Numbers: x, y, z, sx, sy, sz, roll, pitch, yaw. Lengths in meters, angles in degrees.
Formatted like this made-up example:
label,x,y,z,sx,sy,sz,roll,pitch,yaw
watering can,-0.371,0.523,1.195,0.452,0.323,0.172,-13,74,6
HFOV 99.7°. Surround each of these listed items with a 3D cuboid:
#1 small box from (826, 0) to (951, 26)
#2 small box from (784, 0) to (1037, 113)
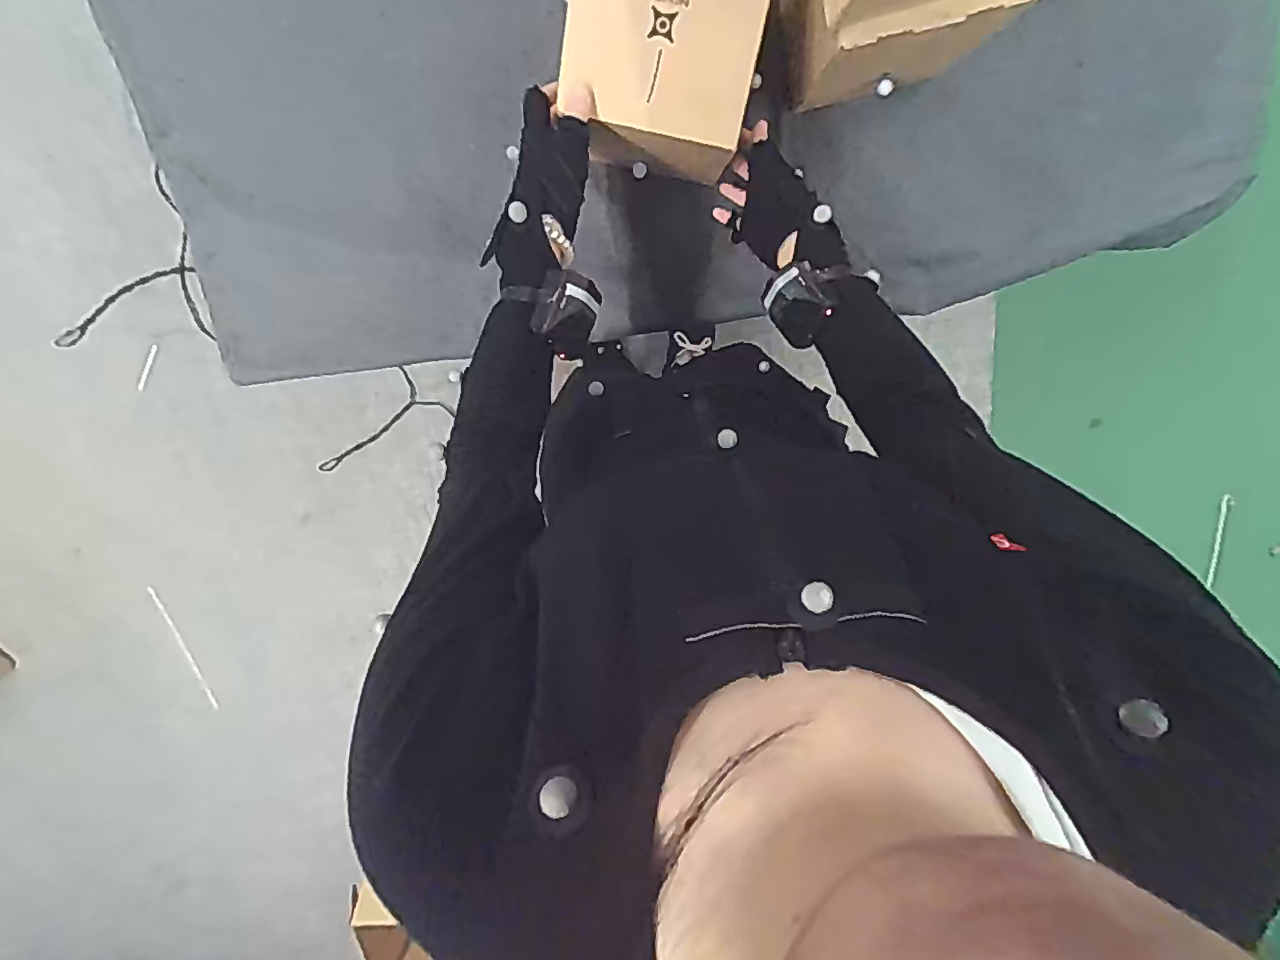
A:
label,x,y,z,sx,sy,sz,roll,pitch,yaw
small box,0.219,-0.439,0.345,0.179,0.176,0.168,-12,107,5
small box,0.233,-0.482,0.502,0.168,0.176,0.179,-11,108,6
